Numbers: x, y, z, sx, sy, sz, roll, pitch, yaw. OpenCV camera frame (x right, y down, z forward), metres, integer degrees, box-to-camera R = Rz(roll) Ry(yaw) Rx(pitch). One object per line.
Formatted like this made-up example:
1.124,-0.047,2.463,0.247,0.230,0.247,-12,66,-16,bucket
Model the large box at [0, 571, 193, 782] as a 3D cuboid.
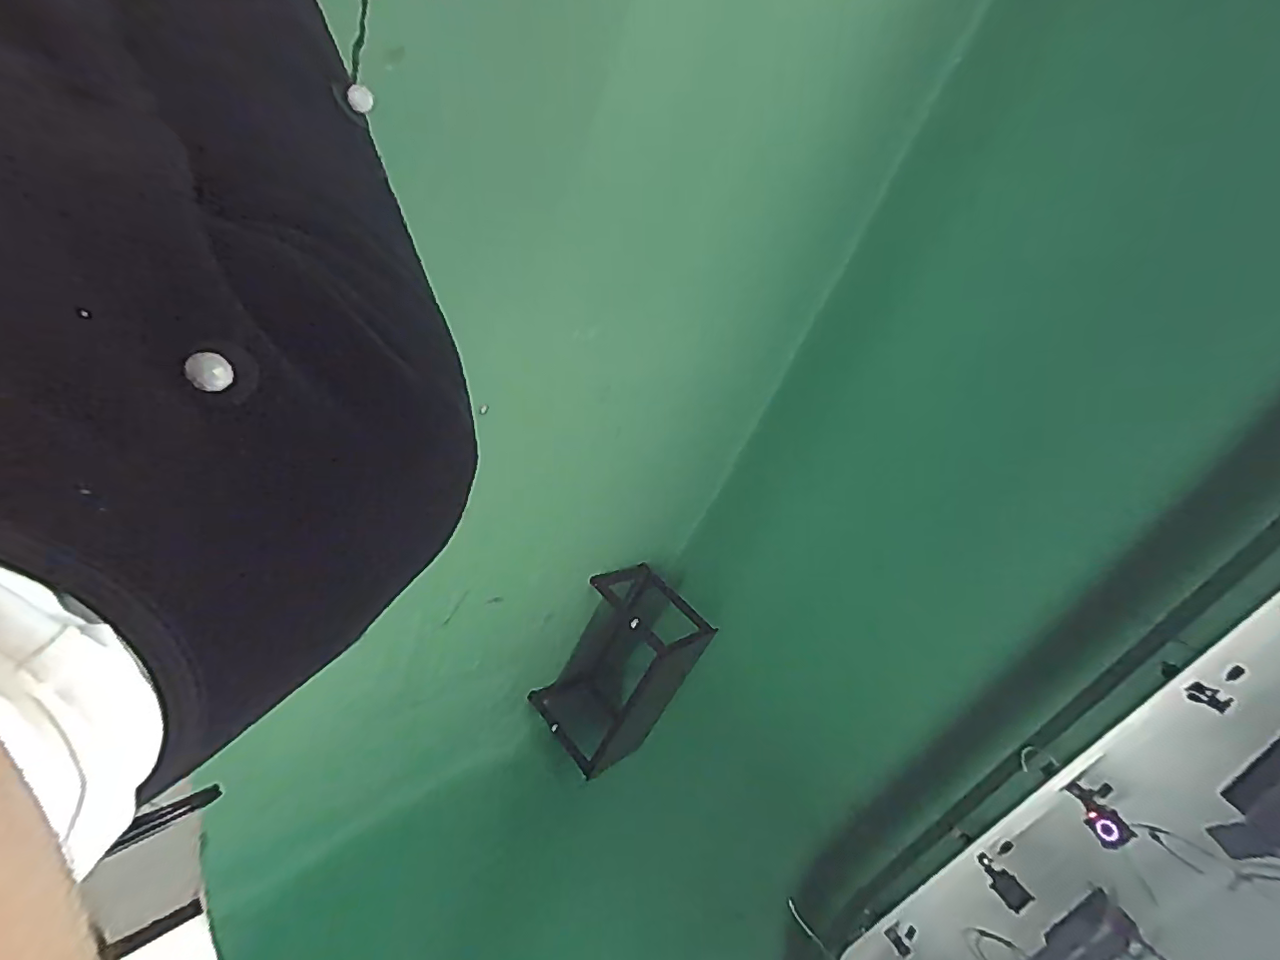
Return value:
-1.589,0.535,1.498,0.408,0.320,0.320,-36,149,-24,large box
